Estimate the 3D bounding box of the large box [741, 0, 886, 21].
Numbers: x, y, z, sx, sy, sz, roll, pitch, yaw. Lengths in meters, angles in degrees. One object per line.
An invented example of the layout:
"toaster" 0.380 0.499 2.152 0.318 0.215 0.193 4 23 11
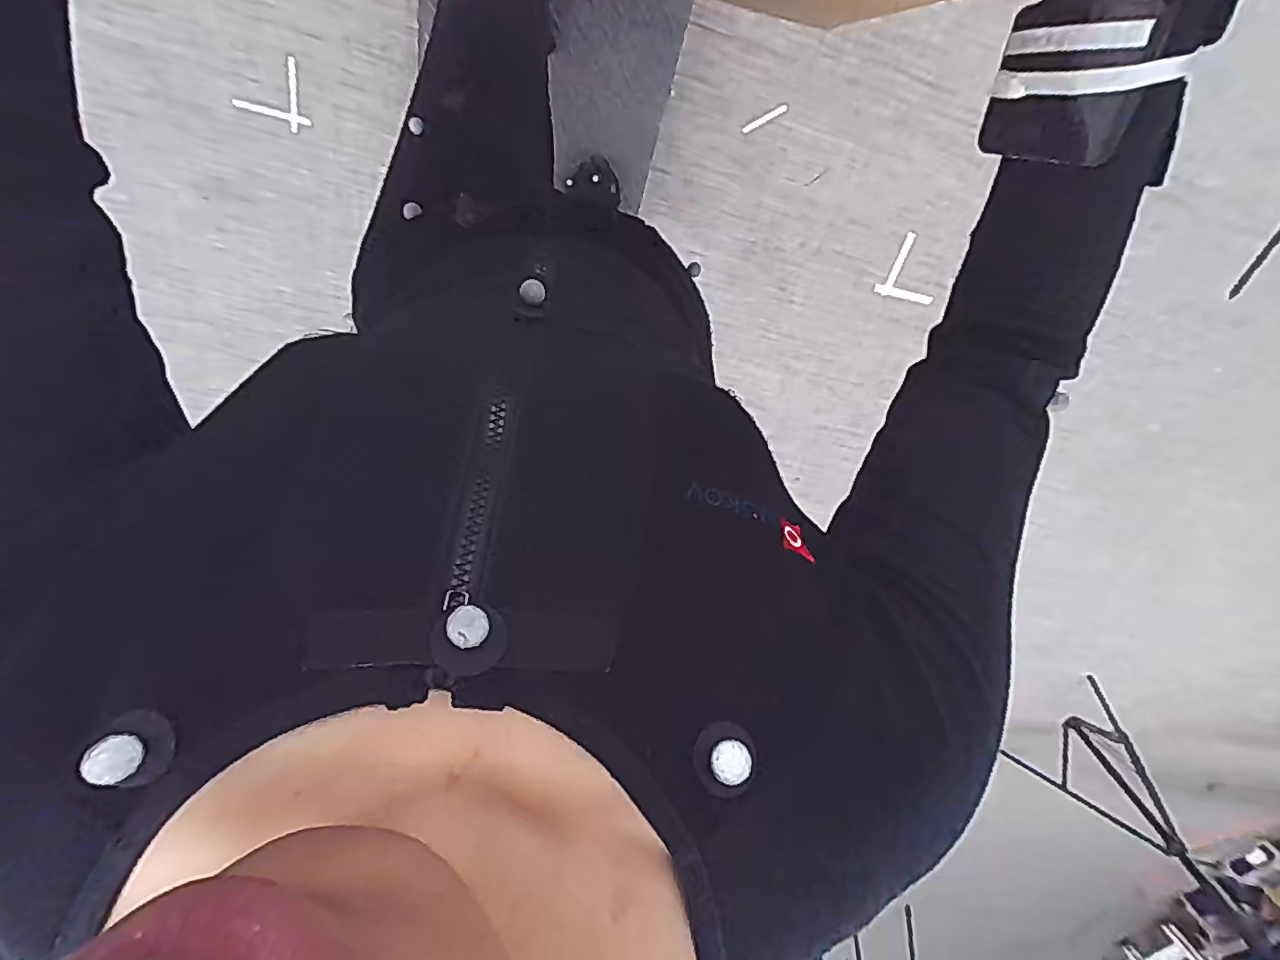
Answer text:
"large box" 0.016 -0.473 0.255 0.408 0.320 0.320 6 125 -10
